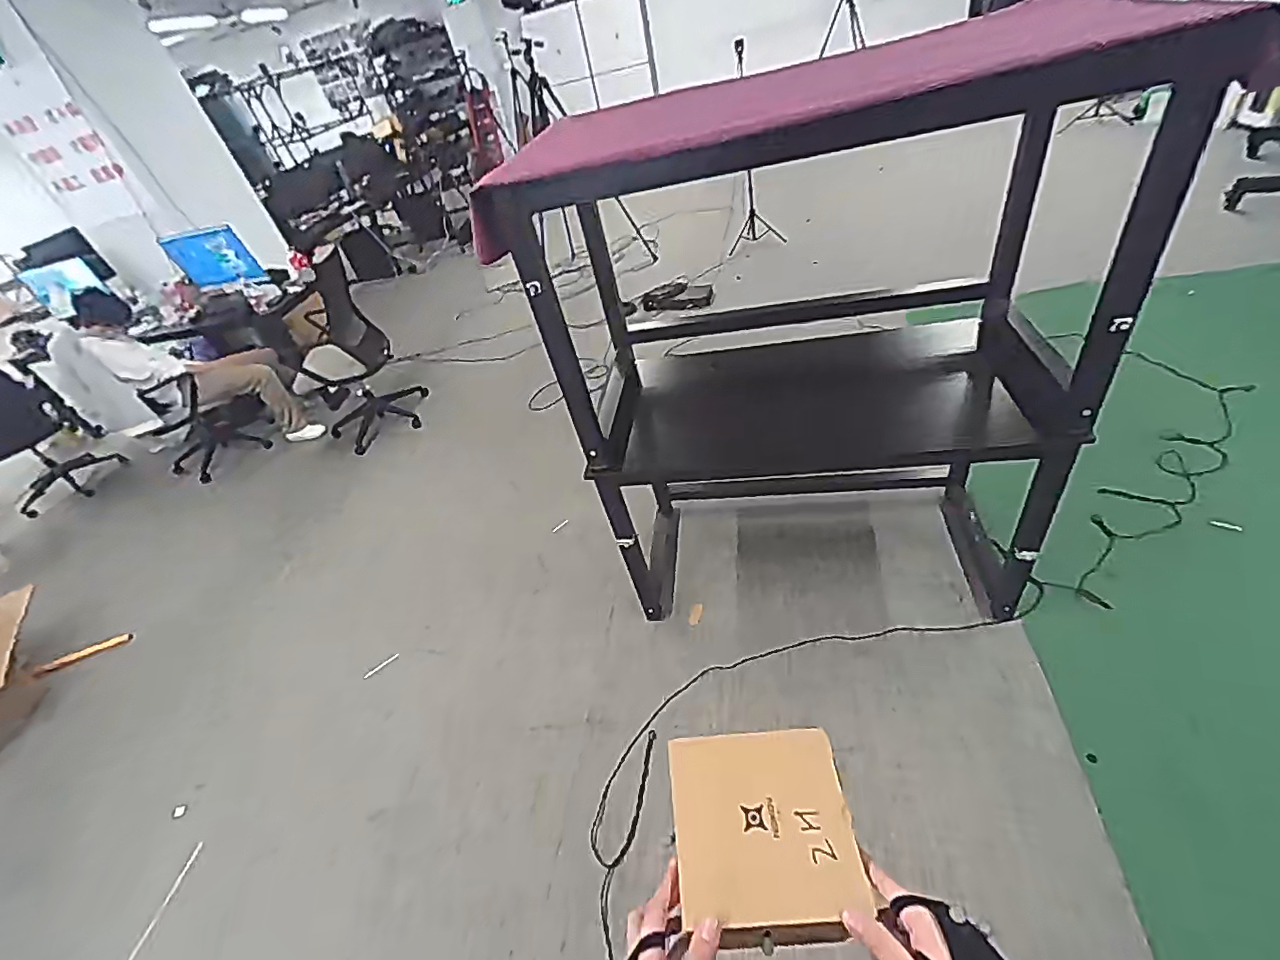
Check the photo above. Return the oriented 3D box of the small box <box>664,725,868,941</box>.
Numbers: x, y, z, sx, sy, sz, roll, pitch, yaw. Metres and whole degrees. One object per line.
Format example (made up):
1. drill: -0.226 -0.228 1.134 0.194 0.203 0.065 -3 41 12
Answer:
1. small box: 0.123 0.389 0.593 0.179 0.176 0.168 -5 45 2
